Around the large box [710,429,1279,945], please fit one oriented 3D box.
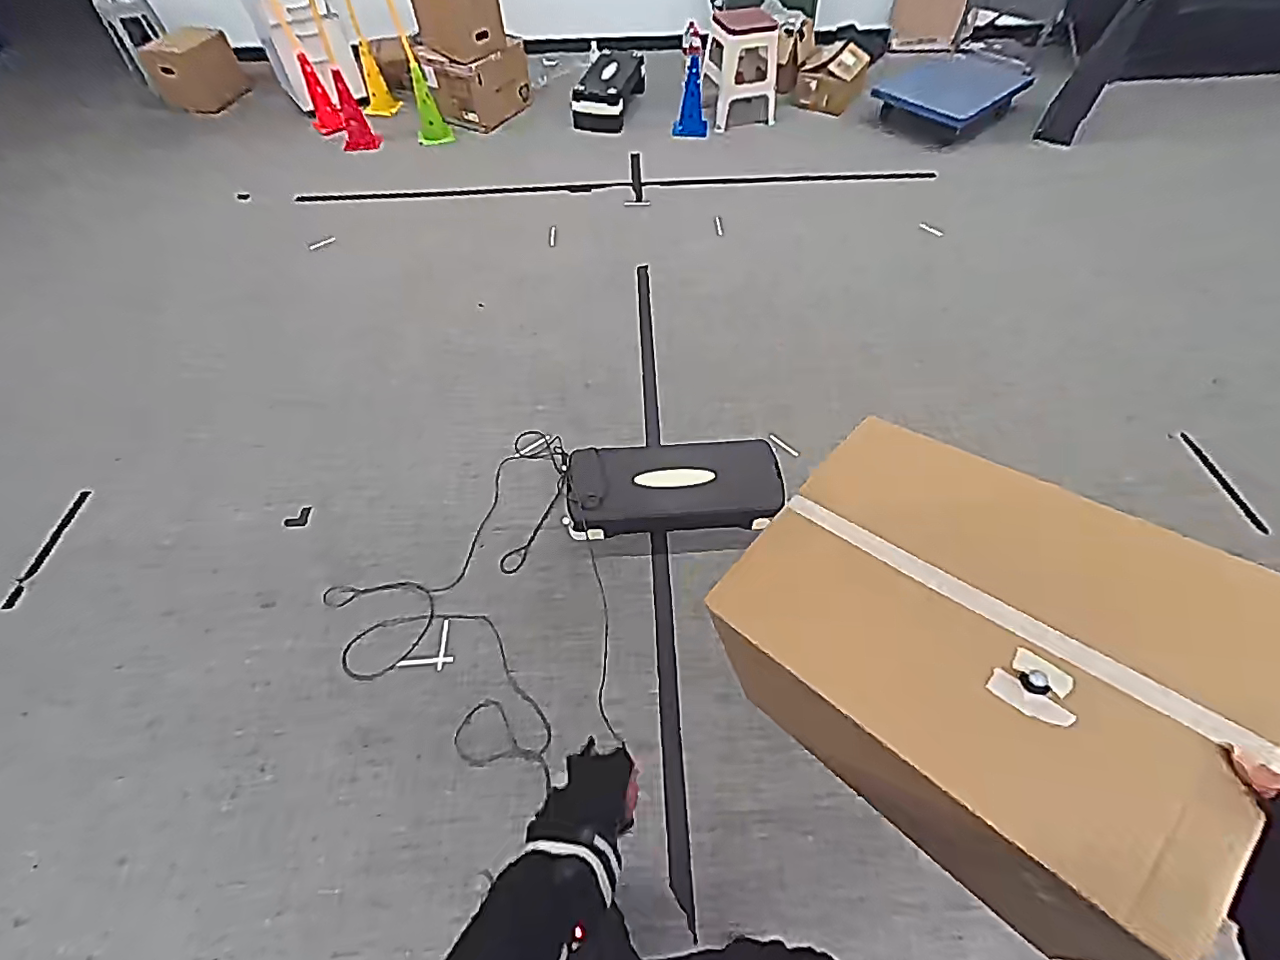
[{"bbox_3d":[0.348,0.208,0.616,0.320,0.320,0.408,-44,50,-16],"label":"large box"}]
